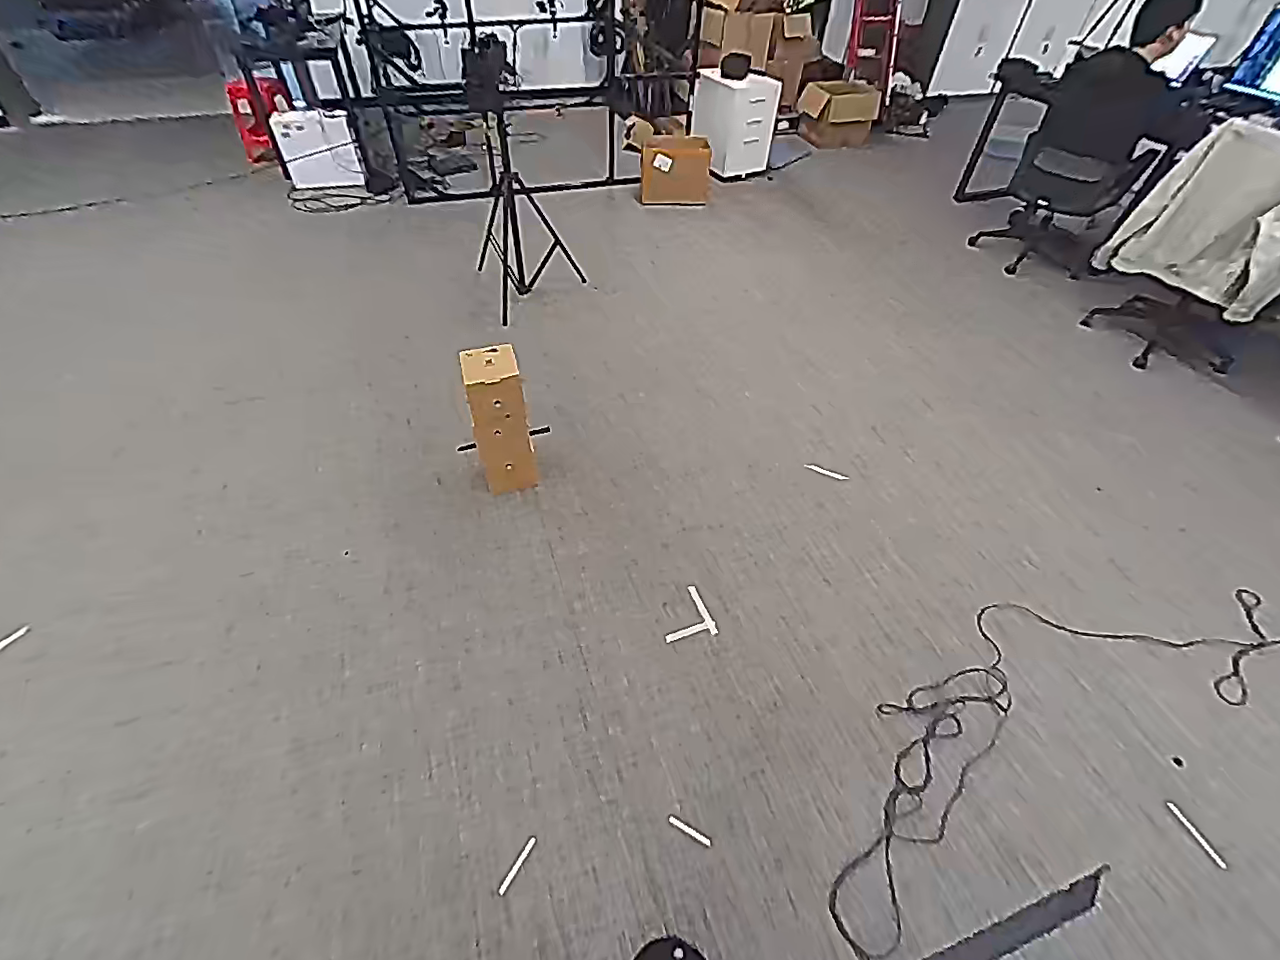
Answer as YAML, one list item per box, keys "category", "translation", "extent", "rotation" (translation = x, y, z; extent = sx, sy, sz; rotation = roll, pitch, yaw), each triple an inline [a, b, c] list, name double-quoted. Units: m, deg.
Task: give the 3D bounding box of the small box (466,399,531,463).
- category: "small box"
  translation: [-0.475, -0.177, 1.822]
  extent: [0.179, 0.176, 0.168]
  rotation: [-12, 50, -12]

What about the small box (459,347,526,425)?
- category: "small box"
  translation: [-0.463, -0.291, 1.705]
  extent: [0.168, 0.176, 0.179]
  rotation: [-12, 51, -13]

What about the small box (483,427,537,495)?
- category: "small box"
  translation: [-0.474, -0.071, 1.948]
  extent: [0.179, 0.176, 0.168]
  rotation: [-14, 50, -14]
